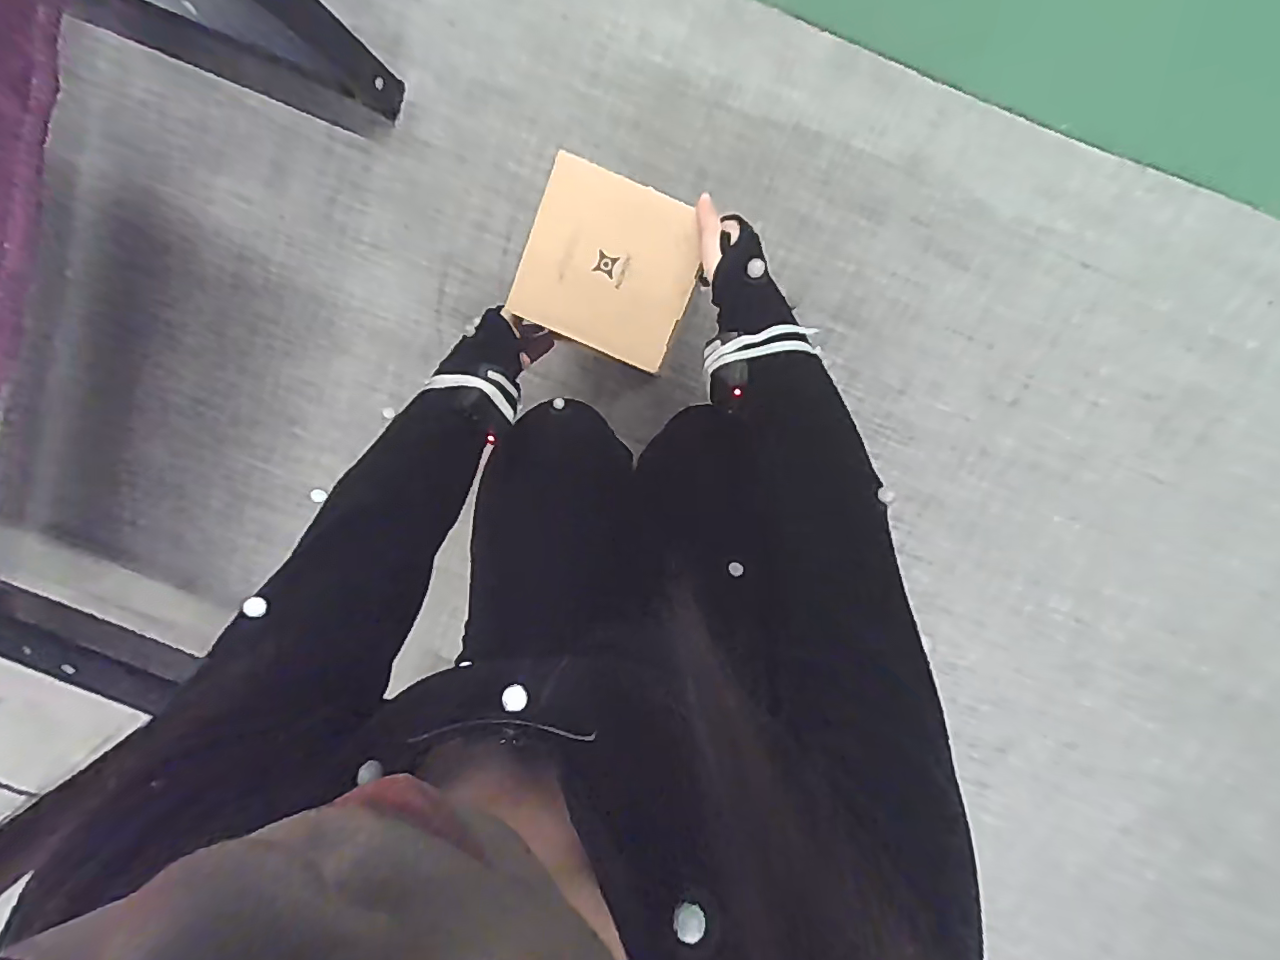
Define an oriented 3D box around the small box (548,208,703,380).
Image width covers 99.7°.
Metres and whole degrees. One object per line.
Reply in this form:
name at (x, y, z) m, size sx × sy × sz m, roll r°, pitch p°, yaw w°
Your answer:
small box at (-0.016, -0.261, 0.792) m, size 0.168 × 0.176 × 0.179 m, roll 21°, pitch 103°, yaw -1°
